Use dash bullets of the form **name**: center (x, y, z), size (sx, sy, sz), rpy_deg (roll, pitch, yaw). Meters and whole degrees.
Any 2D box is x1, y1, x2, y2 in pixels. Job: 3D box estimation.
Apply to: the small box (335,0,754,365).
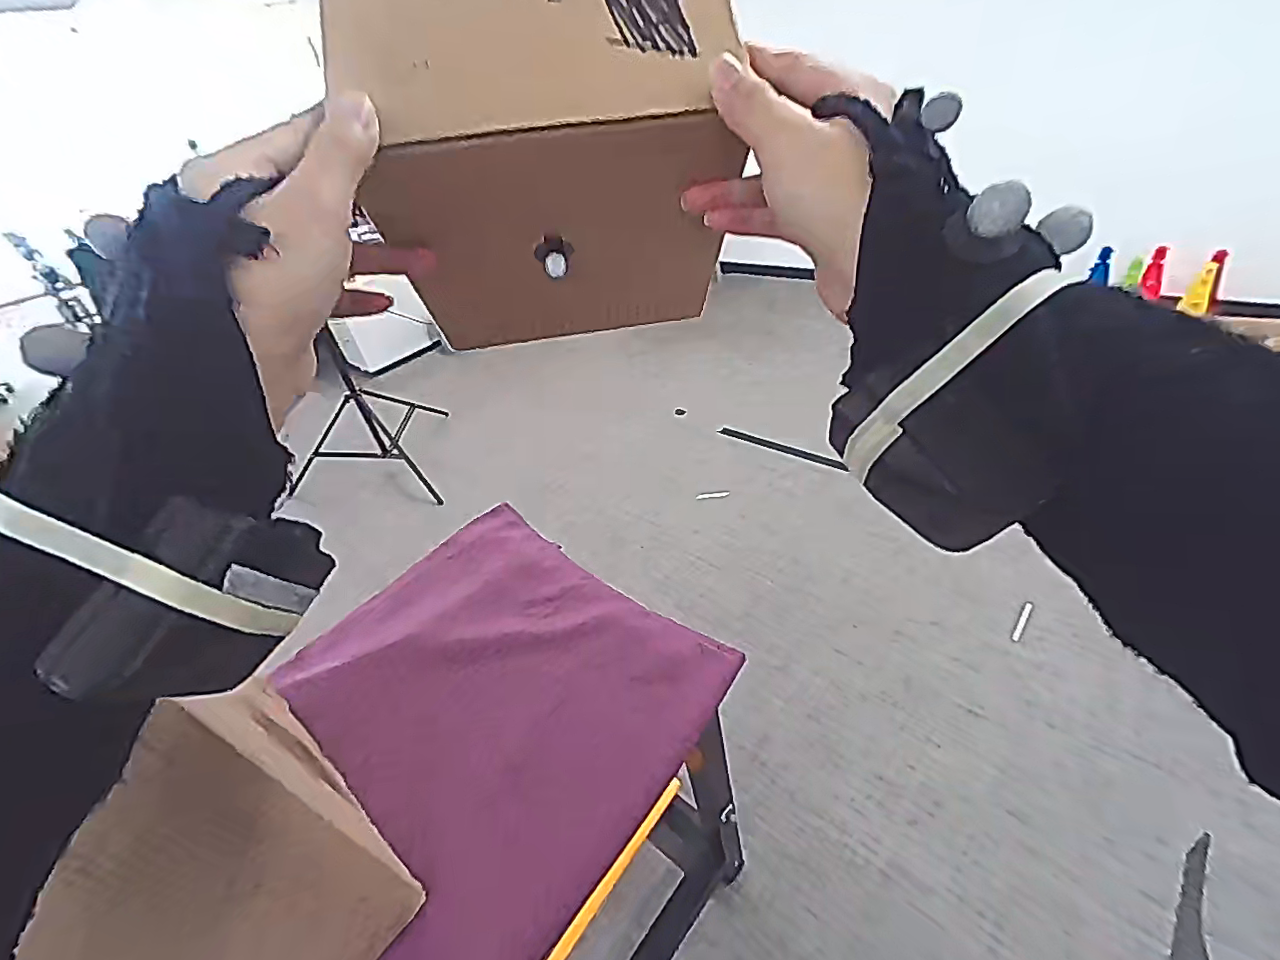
- **small box**: center (-0.052, -0.187, 0.323), size (0.179, 0.176, 0.168), rpy_deg (-10, 76, -4)
